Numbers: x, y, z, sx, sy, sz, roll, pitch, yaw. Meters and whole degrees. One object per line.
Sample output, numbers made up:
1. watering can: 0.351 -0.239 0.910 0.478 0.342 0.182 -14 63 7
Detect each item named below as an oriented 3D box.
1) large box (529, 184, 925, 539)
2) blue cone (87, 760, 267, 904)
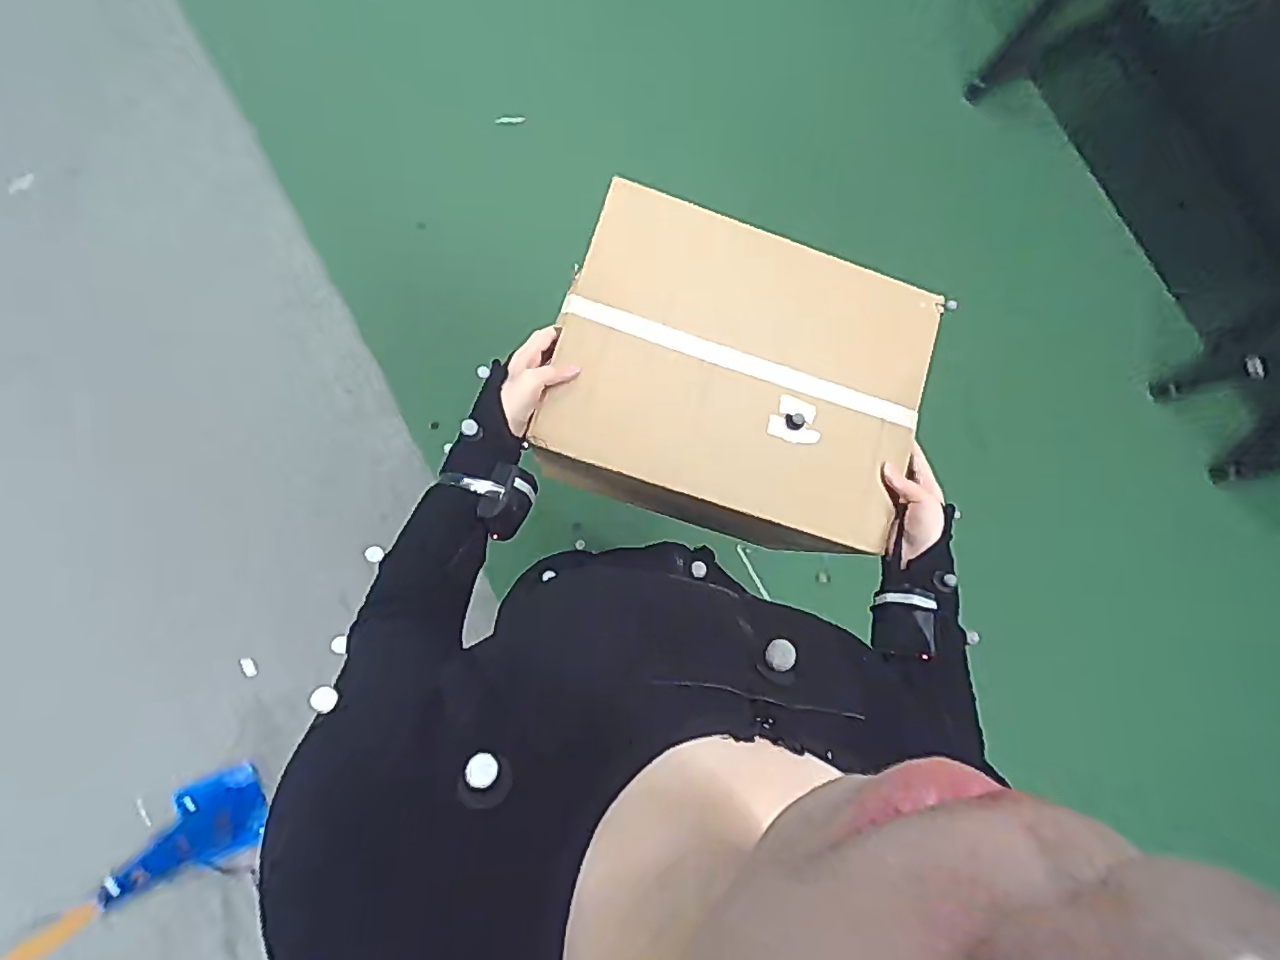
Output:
1. large box: 0.088 -0.116 0.741 0.408 0.320 0.320 16 83 -6
2. blue cone: -1.028 0.793 1.177 0.192 0.380 0.193 -19 85 -8
